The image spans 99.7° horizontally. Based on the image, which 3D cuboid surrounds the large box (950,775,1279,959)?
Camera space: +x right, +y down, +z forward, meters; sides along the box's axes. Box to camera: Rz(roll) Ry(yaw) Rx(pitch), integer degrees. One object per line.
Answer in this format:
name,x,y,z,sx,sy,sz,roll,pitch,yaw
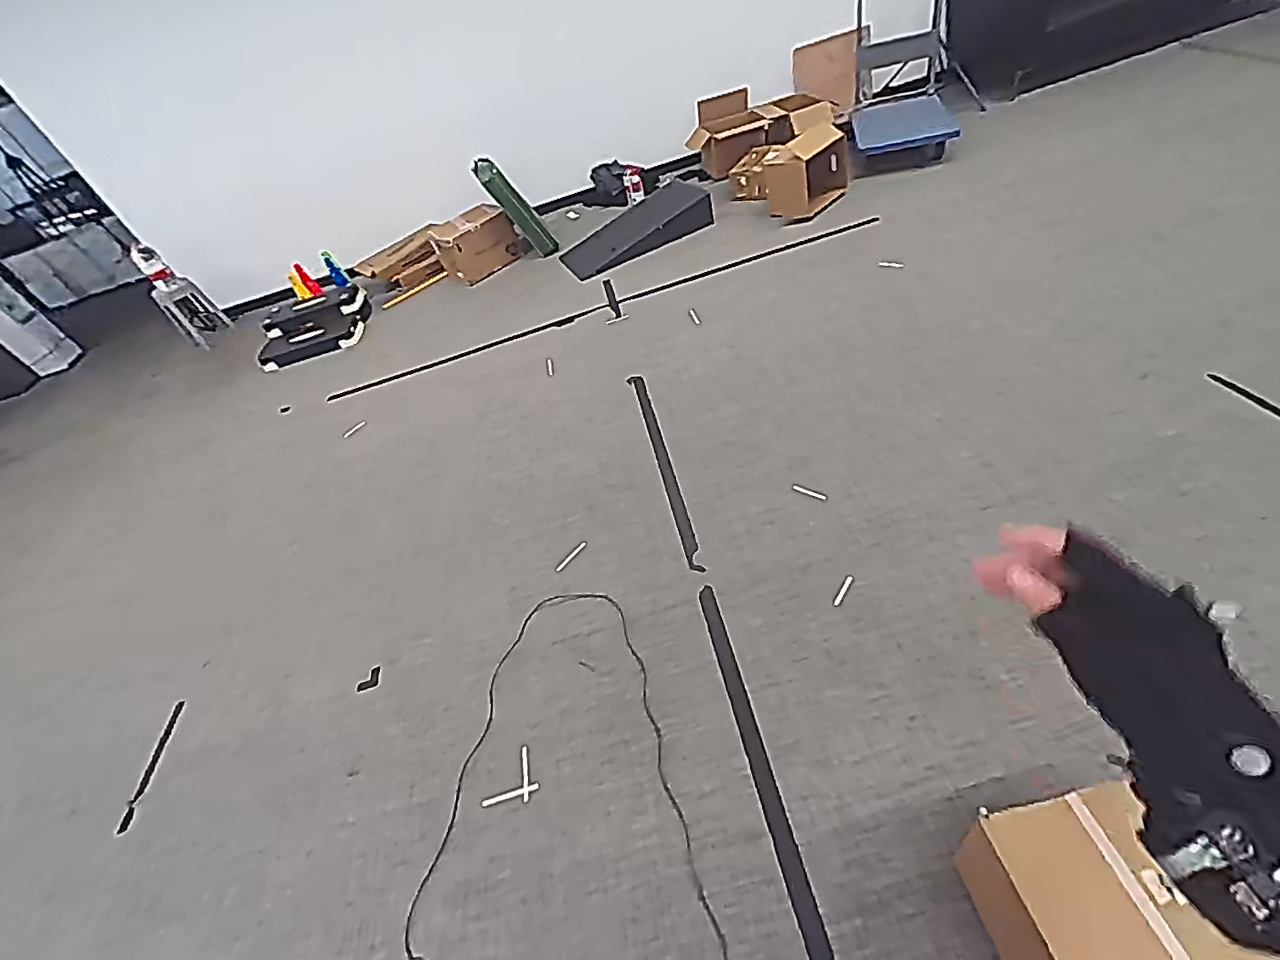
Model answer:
large box,0.794,0.782,0.891,0.320,0.320,0.408,-15,43,2
